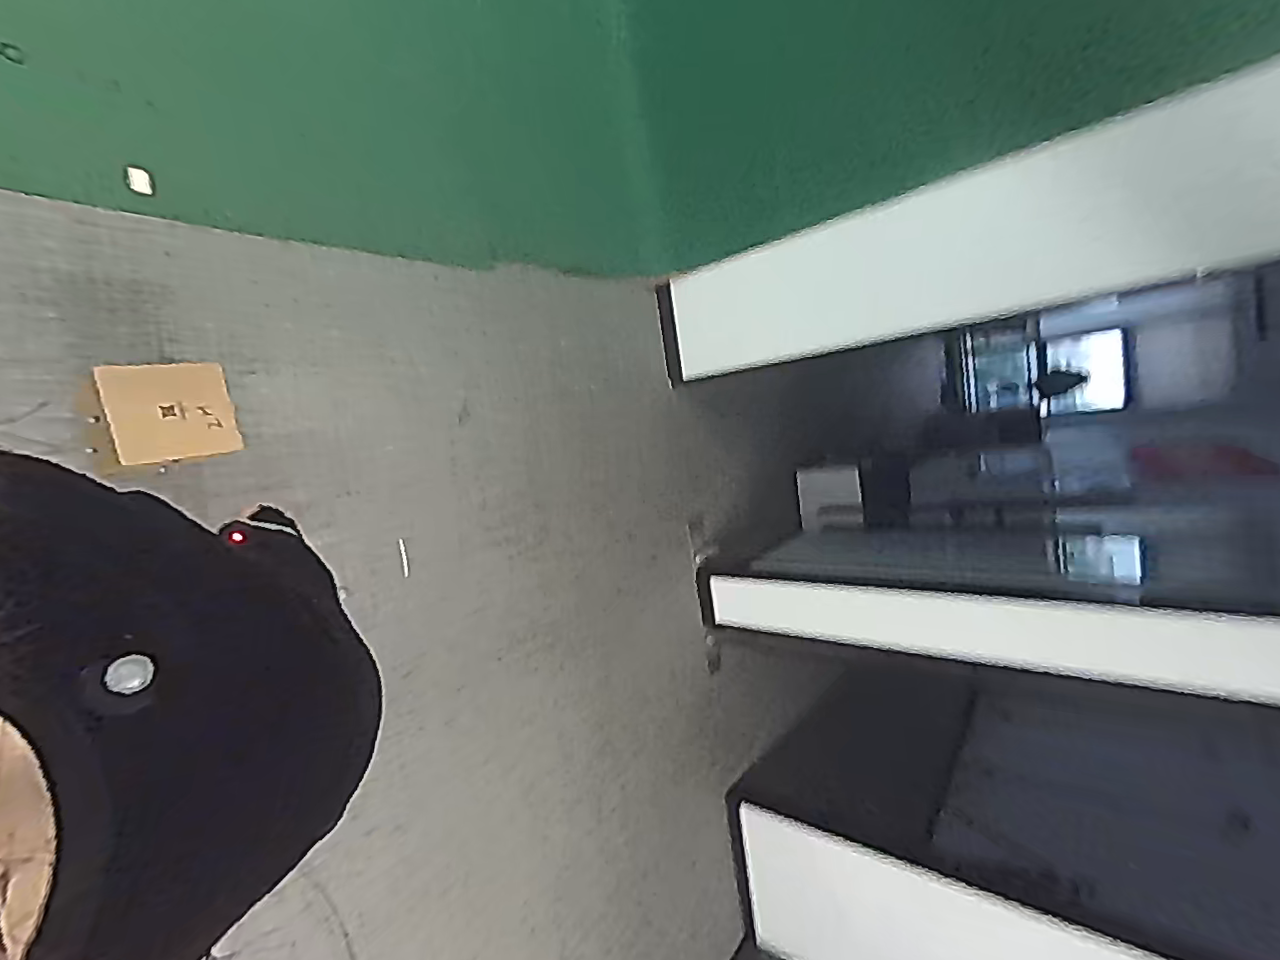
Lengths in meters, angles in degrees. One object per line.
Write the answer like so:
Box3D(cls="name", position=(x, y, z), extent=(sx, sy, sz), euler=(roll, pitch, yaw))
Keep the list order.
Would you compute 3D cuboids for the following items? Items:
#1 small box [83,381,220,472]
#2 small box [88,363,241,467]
Box3D(cls="small box", position=(-1.002, -0.112, 1.106), extent=(0.179, 0.176, 0.168), euler=(-15, 100, -50))
Box3D(cls="small box", position=(-0.879, -0.119, 0.998), extent=(0.179, 0.176, 0.168), euler=(-17, 102, -49))
